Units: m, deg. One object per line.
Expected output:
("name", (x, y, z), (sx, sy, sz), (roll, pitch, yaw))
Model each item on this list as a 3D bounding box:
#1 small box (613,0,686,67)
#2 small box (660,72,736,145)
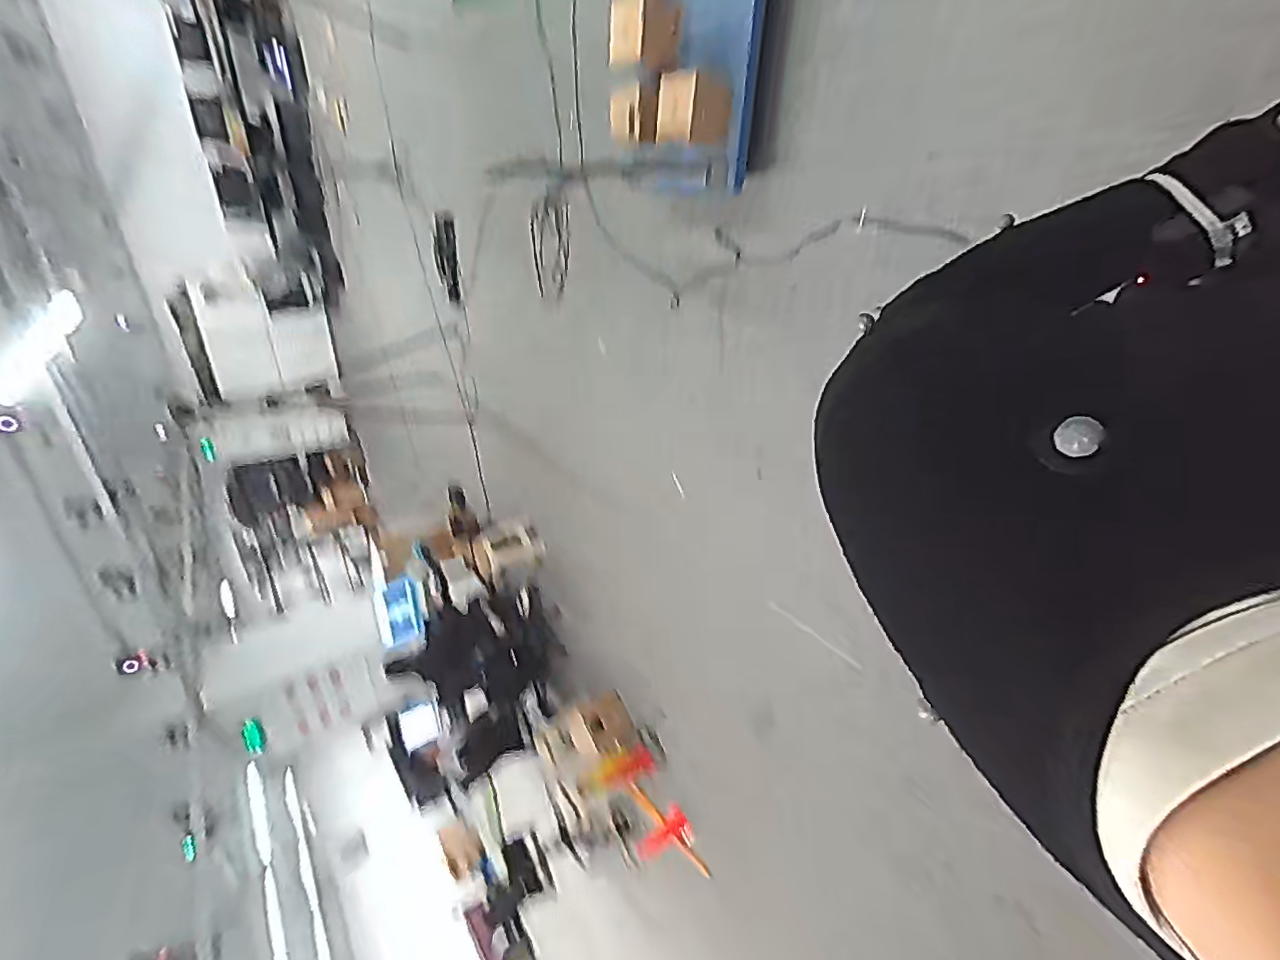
("small box", (0.030, -1.507, 1.813), (0.179, 0.176, 0.168), (33, 129, 42))
("small box", (0.185, -1.185, 1.733), (0.168, 0.176, 0.179), (36, 131, 41))
